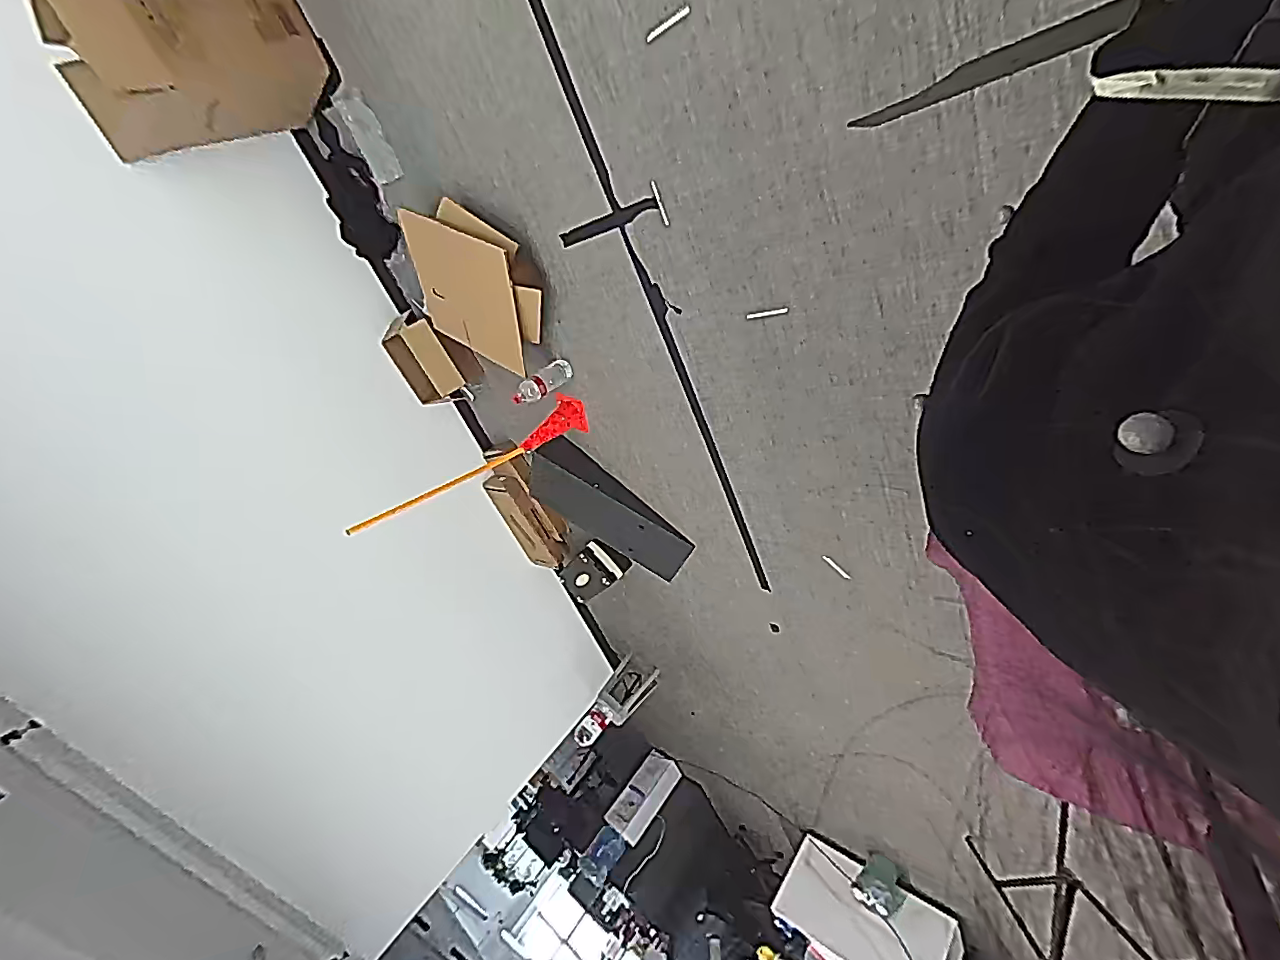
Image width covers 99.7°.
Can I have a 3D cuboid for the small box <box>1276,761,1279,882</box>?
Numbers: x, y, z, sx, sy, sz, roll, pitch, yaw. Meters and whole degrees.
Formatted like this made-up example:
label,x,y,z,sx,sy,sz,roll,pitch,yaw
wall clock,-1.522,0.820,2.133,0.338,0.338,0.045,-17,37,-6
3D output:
label,x,y,z,sx,sy,sz,roll,pitch,yaw
small box,0.896,0.408,0.644,0.168,0.176,0.179,6,130,47
